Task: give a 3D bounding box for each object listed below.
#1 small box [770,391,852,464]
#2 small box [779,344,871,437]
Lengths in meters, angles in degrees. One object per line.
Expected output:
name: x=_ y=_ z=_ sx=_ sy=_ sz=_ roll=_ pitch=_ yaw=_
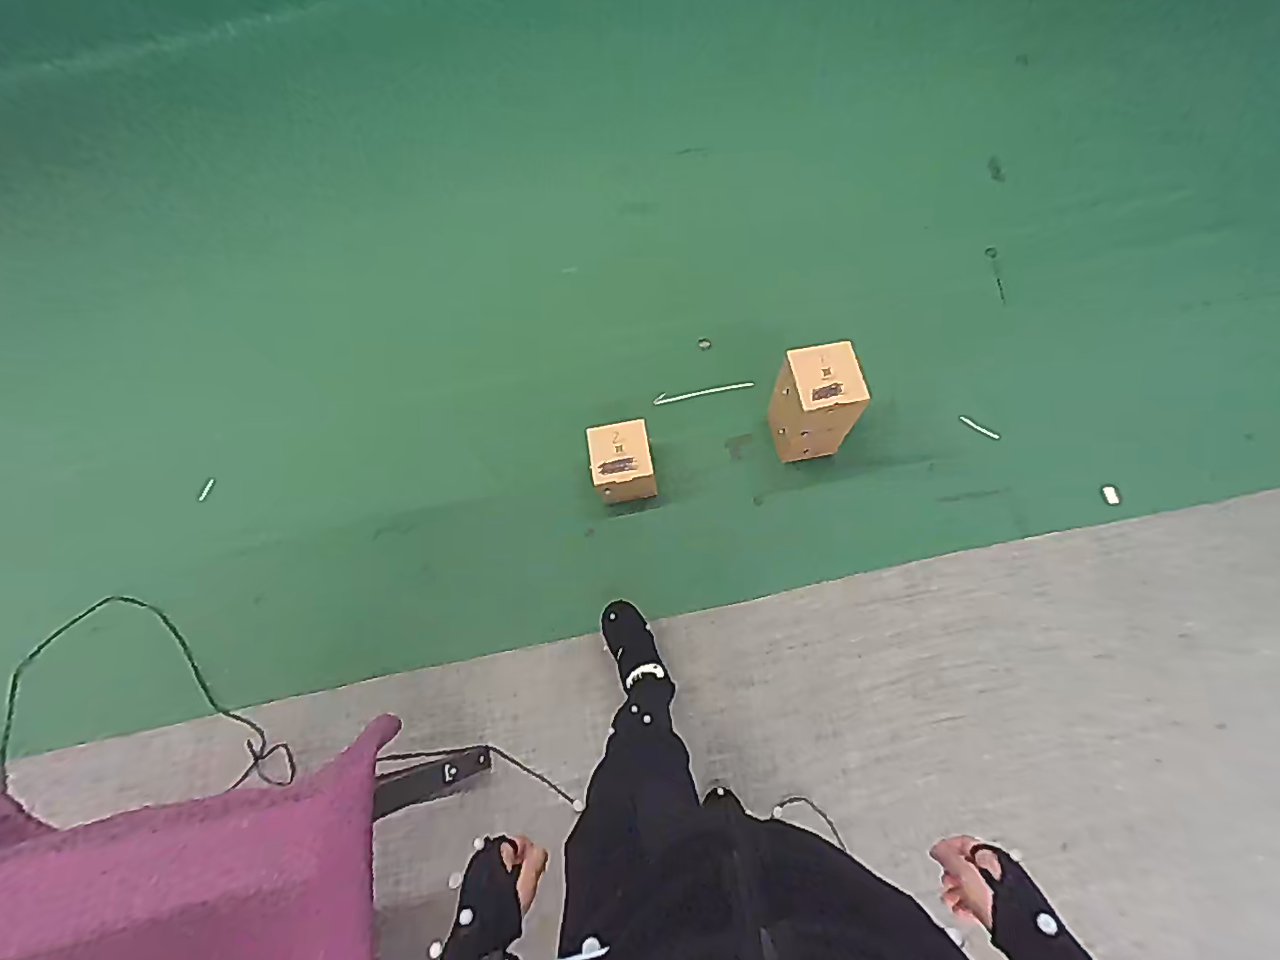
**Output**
small box: x=0.485 y=-0.166 z=1.560 sx=0.168 sy=0.176 sz=0.179 roll=-10 pitch=69 yaw=0
small box: x=0.473 y=-0.224 z=1.407 sx=0.168 sy=0.176 sz=0.179 roll=-9 pitch=69 yaw=0
